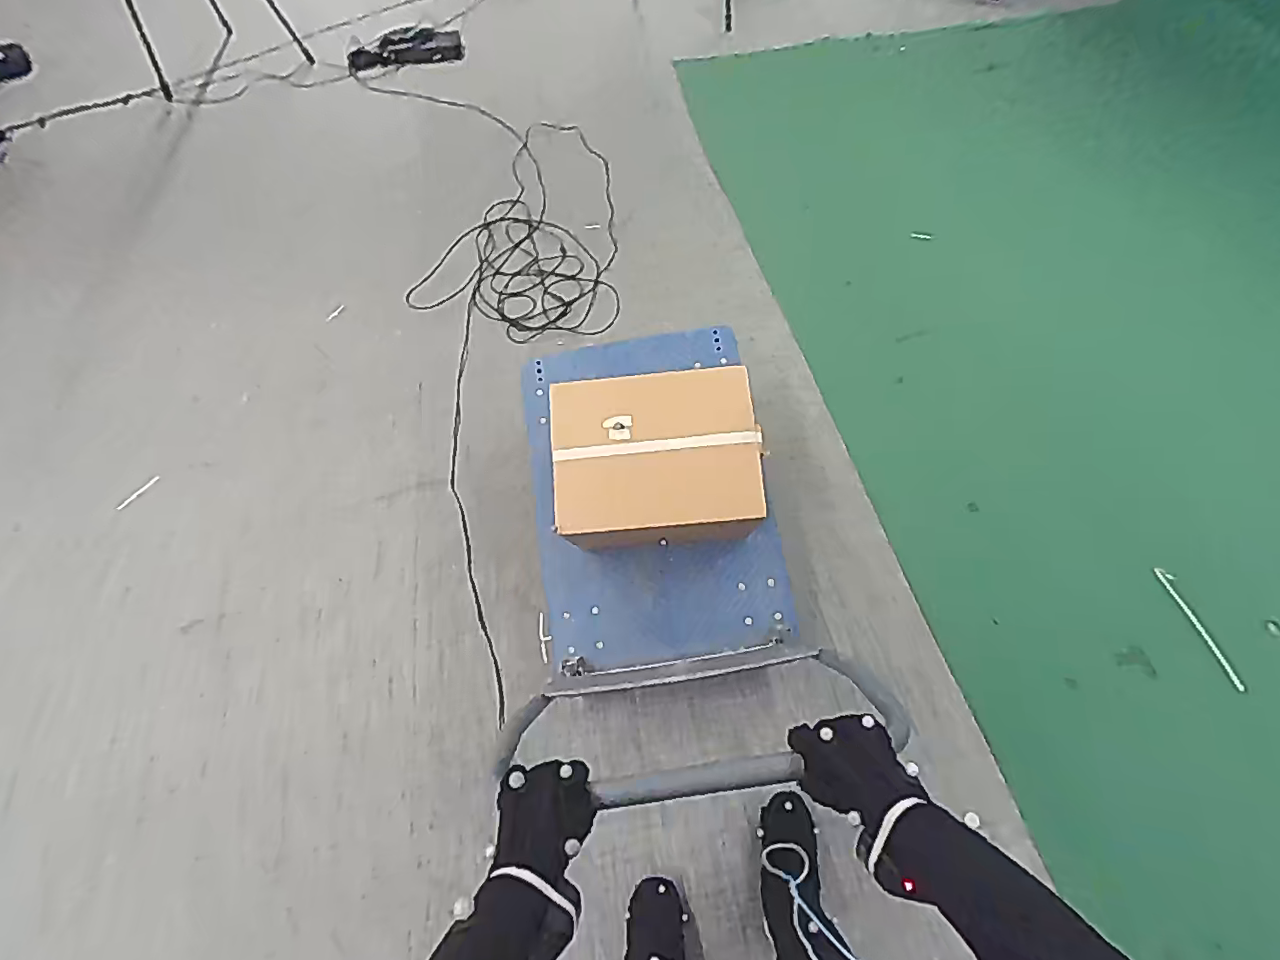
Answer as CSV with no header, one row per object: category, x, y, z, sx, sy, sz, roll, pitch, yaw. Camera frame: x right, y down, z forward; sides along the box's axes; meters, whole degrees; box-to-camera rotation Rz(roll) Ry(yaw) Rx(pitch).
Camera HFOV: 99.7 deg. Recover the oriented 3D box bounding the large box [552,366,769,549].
large box,0.046,-0.027,1.202,0.408,0.320,0.320,-6,77,4
